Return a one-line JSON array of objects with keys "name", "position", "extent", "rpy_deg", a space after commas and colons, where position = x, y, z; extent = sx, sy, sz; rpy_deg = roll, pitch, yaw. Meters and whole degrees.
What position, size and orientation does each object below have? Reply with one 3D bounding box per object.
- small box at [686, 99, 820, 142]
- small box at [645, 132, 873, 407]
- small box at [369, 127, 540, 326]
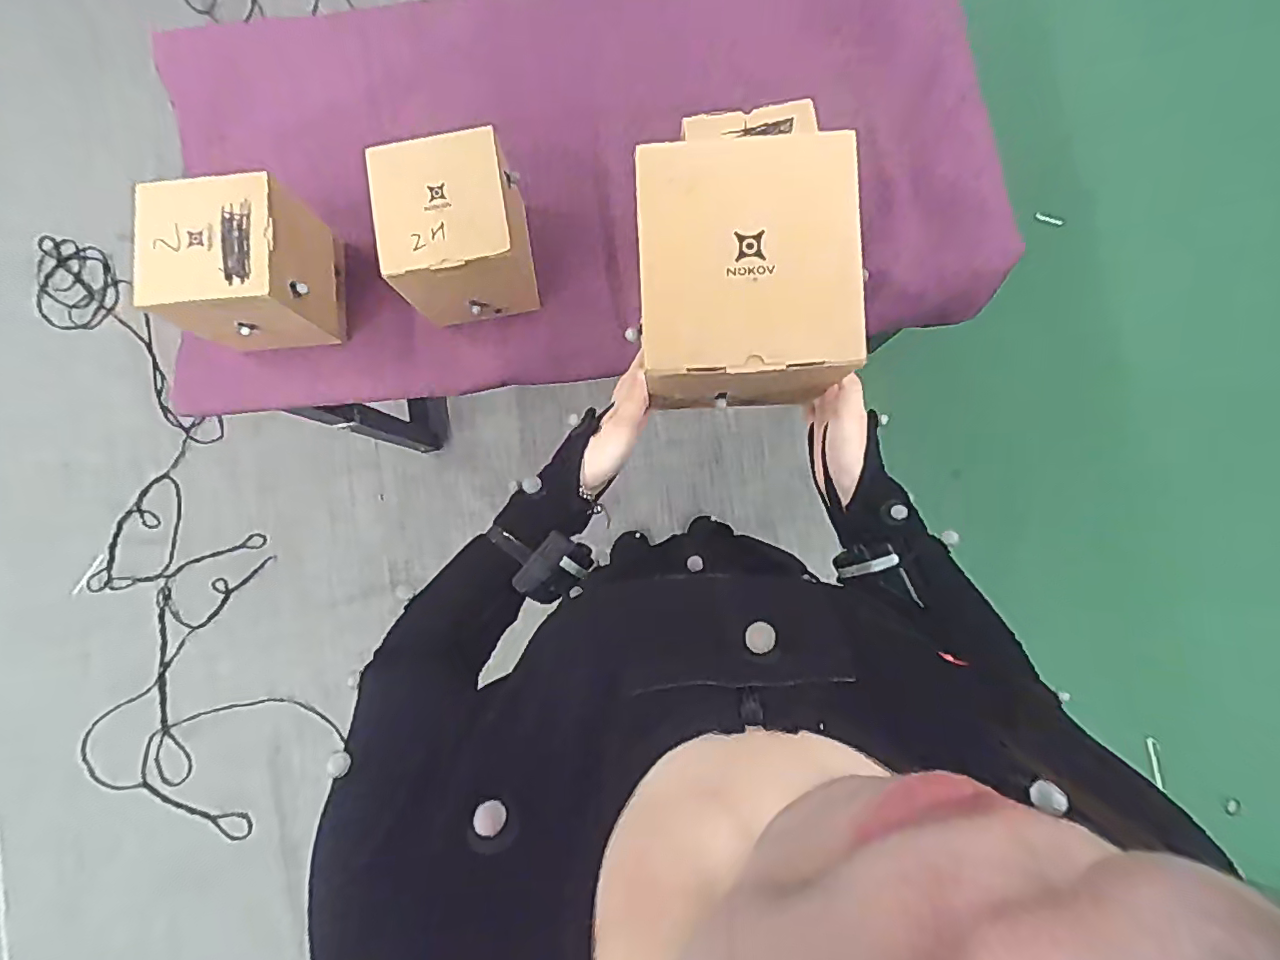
[{"name": "small box", "position": [0.149, -0.369, 0.742], "extent": [0.168, 0.176, 0.179], "rpy_deg": [-9, 85, 1]}, {"name": "small box", "position": [0.089, -0.167, 0.481], "extent": [0.168, 0.176, 0.179], "rpy_deg": [-3, 89, 2]}, {"name": "small box", "position": [-0.246, -0.338, 0.749], "extent": [0.168, 0.176, 0.179], "rpy_deg": [-10, 84, 1]}]
